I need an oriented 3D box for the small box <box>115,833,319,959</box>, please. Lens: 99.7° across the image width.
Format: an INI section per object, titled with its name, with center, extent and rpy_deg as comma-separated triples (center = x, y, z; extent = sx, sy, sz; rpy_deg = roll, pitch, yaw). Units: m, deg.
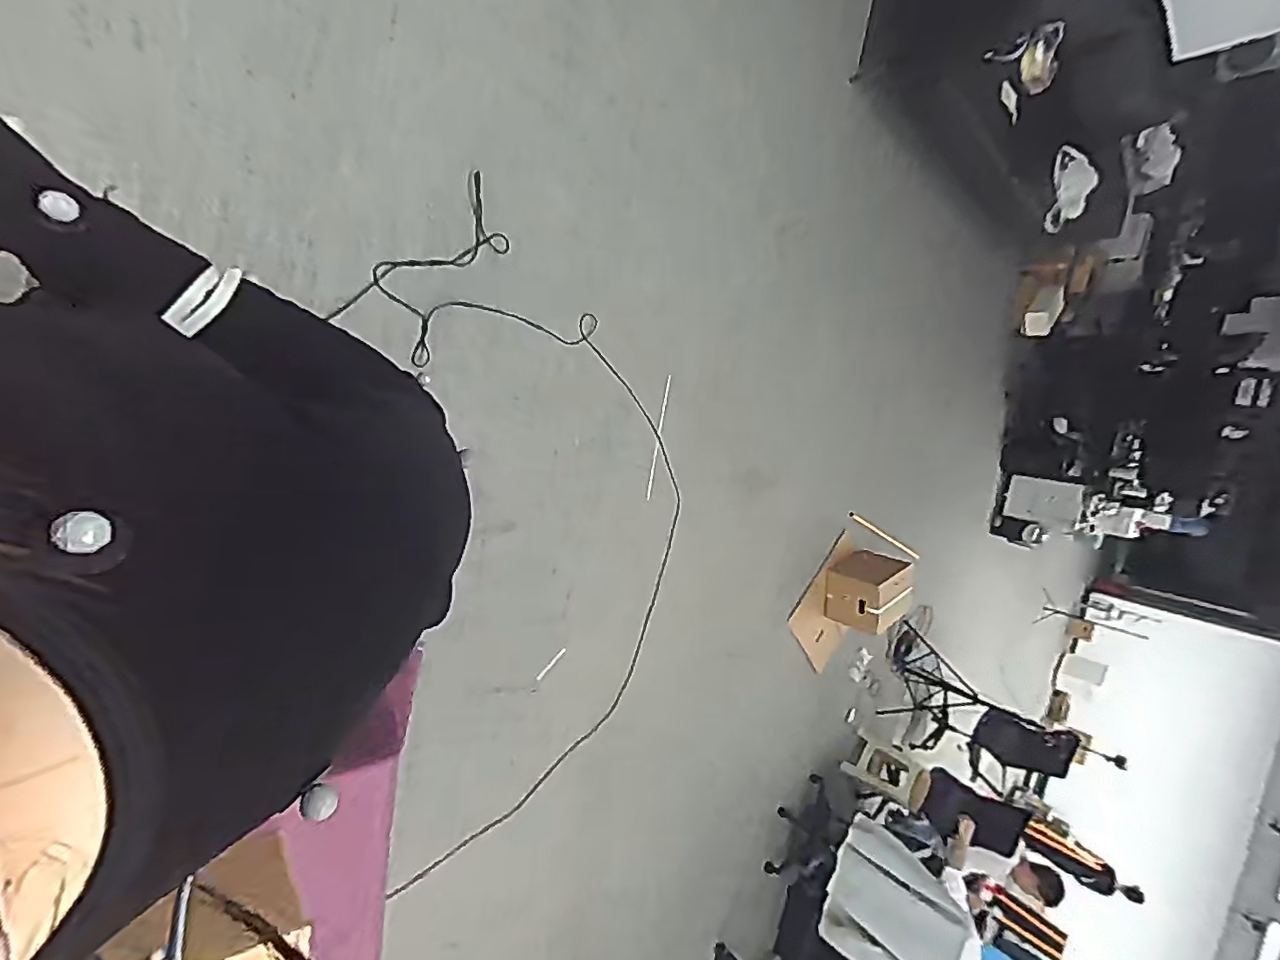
[small box]
center = -0.507, 0.572, 0.646
extent = 0.179, 0.176, 0.168
rpy_deg = 3, 99, -42
